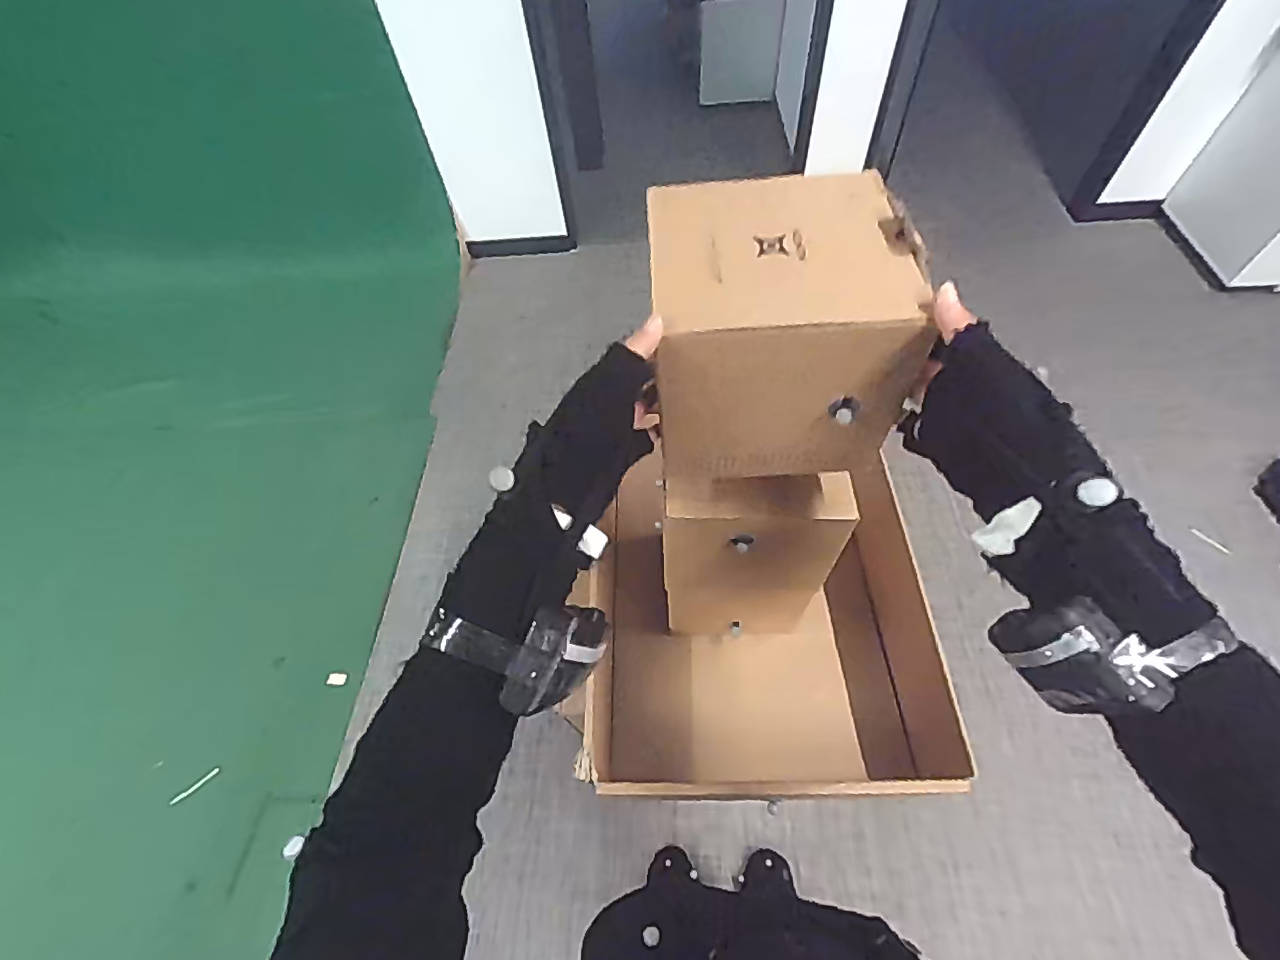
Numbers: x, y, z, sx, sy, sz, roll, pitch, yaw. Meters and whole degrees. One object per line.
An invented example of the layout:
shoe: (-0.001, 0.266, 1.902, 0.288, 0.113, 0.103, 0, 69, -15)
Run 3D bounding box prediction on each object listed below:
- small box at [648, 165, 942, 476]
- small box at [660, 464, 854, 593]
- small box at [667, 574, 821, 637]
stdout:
small box: (0.099, -0.116, 0.430, 0.179, 0.176, 0.168, -3, 56, 5)
small box: (0.114, 0.016, 0.596, 0.179, 0.176, 0.168, 1, 55, 4)
small box: (0.125, 0.106, 0.733, 0.179, 0.176, 0.168, -2, 54, 2)
